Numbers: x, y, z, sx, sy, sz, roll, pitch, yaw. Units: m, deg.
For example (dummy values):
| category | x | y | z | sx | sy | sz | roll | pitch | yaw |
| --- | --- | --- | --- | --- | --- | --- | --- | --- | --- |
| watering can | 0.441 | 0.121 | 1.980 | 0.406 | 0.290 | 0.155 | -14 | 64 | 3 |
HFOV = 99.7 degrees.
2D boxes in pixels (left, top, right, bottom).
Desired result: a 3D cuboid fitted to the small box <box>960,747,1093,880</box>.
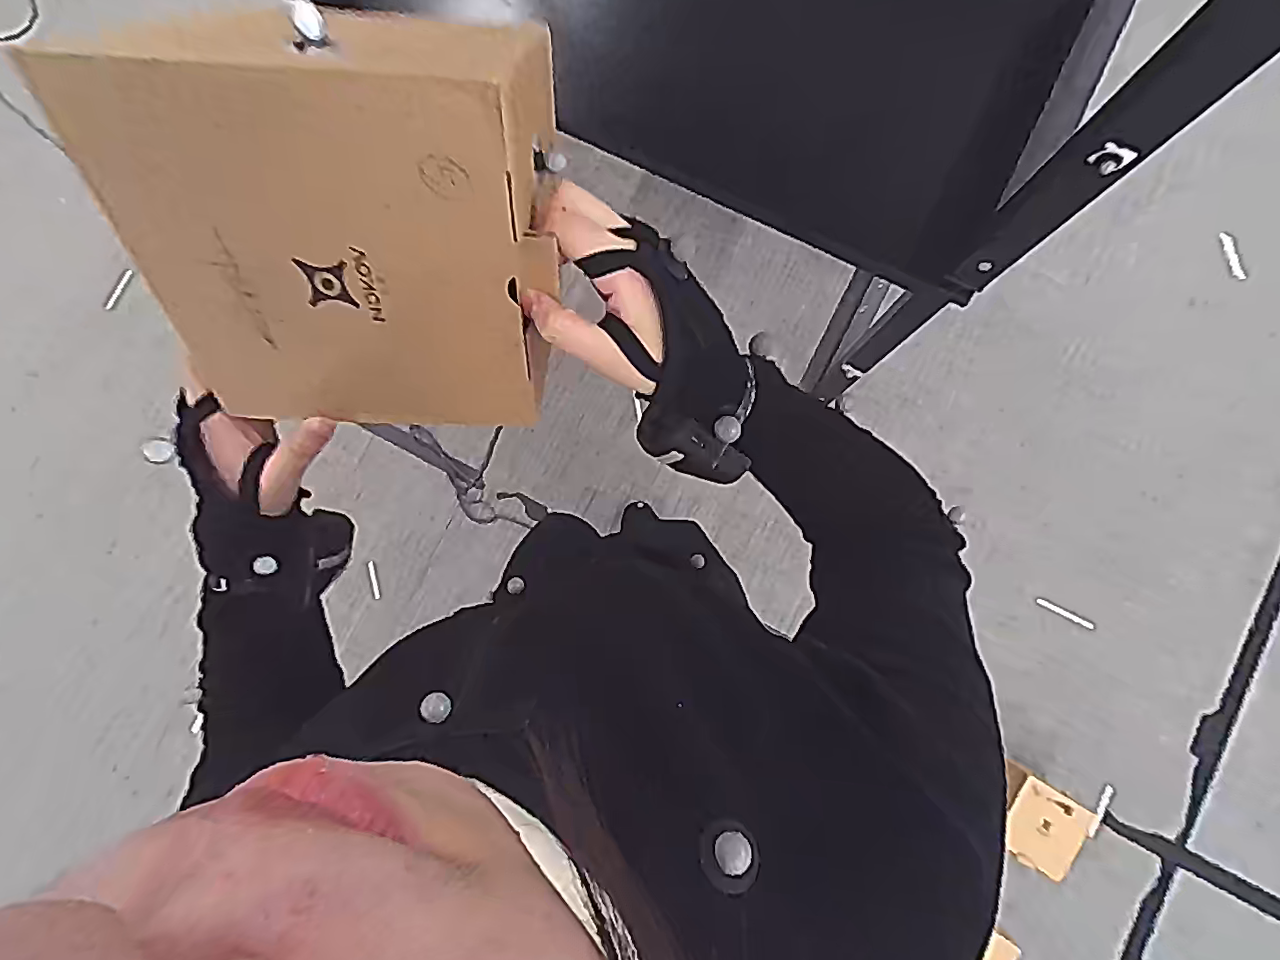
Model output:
| category | x | y | z | sx | sy | sz | roll | pitch | yaw |
| --- | --- | --- | --- | --- | --- | --- | --- | --- | --- |
| small box | 0.914 | 0.791 | 1.303 | 0.168 | 0.176 | 0.179 | 32 | 88 | 5 |
